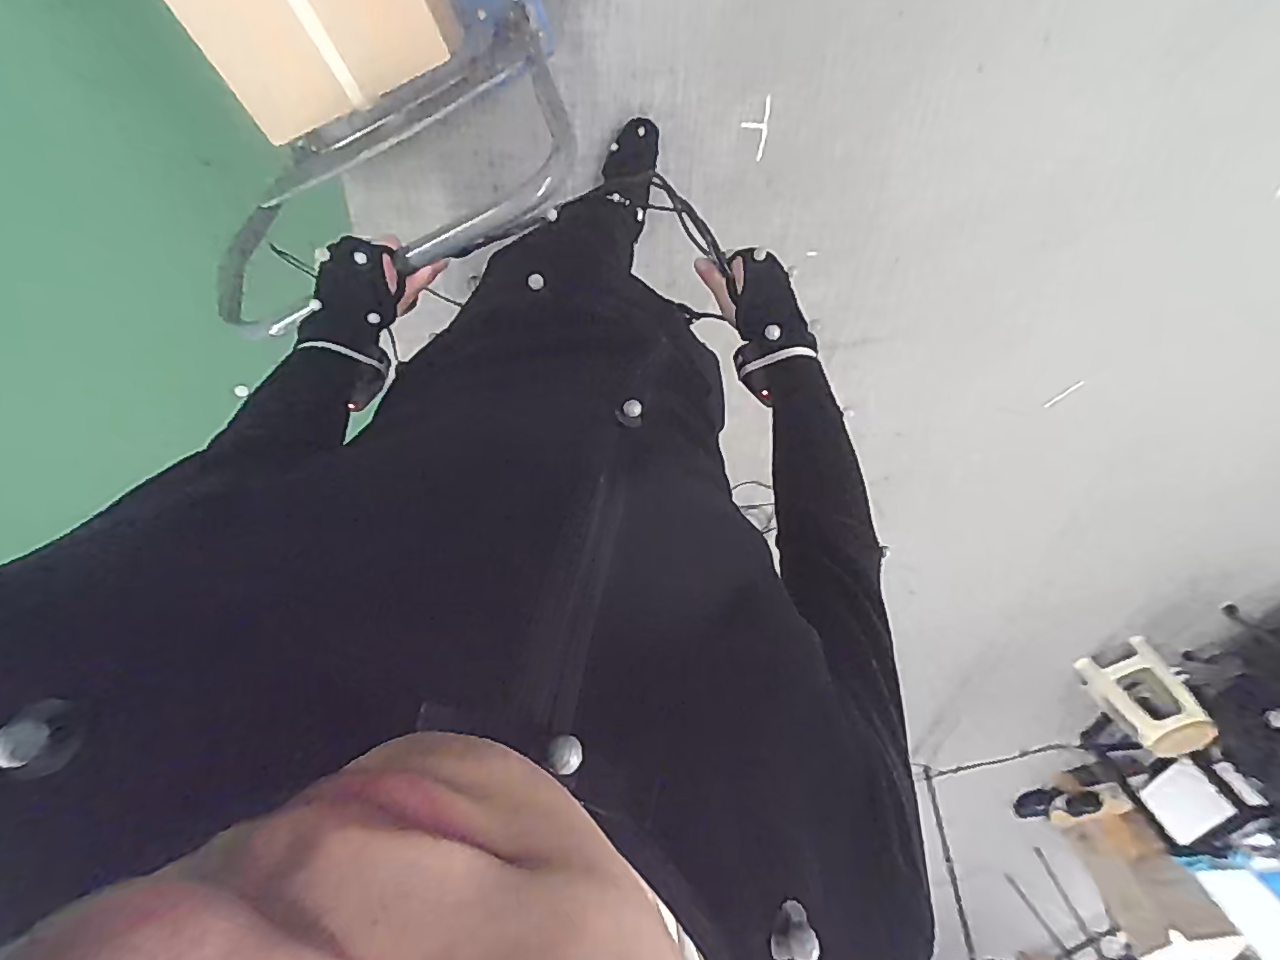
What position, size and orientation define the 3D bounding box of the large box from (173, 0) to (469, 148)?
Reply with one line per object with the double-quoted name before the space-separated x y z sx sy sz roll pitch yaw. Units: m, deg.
"large box" -0.504 -0.797 0.801 0.320 0.320 0.408 -21 133 6
